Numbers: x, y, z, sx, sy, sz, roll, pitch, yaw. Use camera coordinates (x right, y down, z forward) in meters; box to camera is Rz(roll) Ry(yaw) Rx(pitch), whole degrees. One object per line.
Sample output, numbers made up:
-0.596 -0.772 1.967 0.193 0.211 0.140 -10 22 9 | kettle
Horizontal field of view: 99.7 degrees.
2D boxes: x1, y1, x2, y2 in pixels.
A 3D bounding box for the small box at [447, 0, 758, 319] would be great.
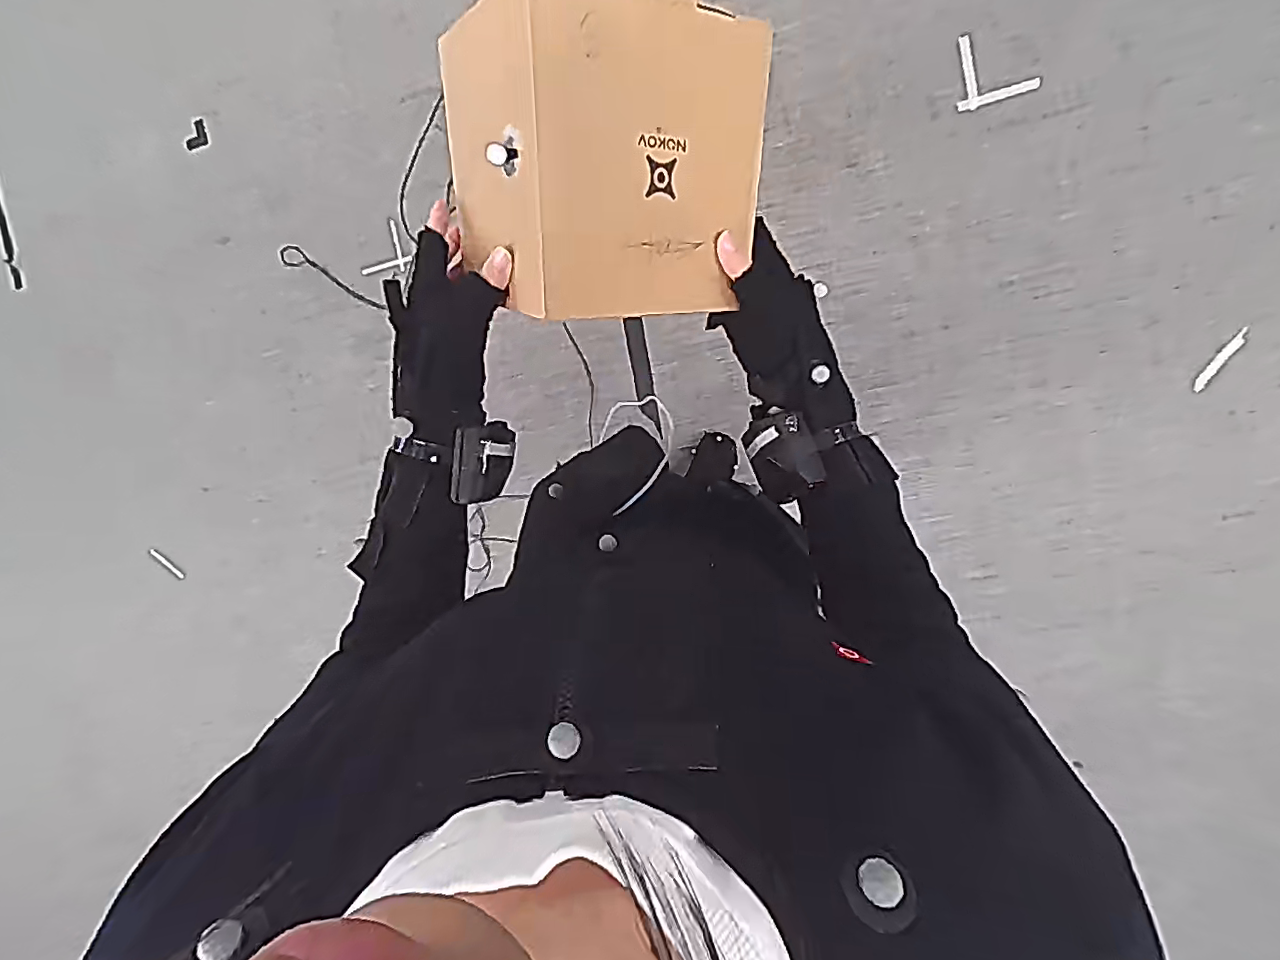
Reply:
-0.036 -0.223 0.409 0.168 0.176 0.179 -13 118 -31 | small box
